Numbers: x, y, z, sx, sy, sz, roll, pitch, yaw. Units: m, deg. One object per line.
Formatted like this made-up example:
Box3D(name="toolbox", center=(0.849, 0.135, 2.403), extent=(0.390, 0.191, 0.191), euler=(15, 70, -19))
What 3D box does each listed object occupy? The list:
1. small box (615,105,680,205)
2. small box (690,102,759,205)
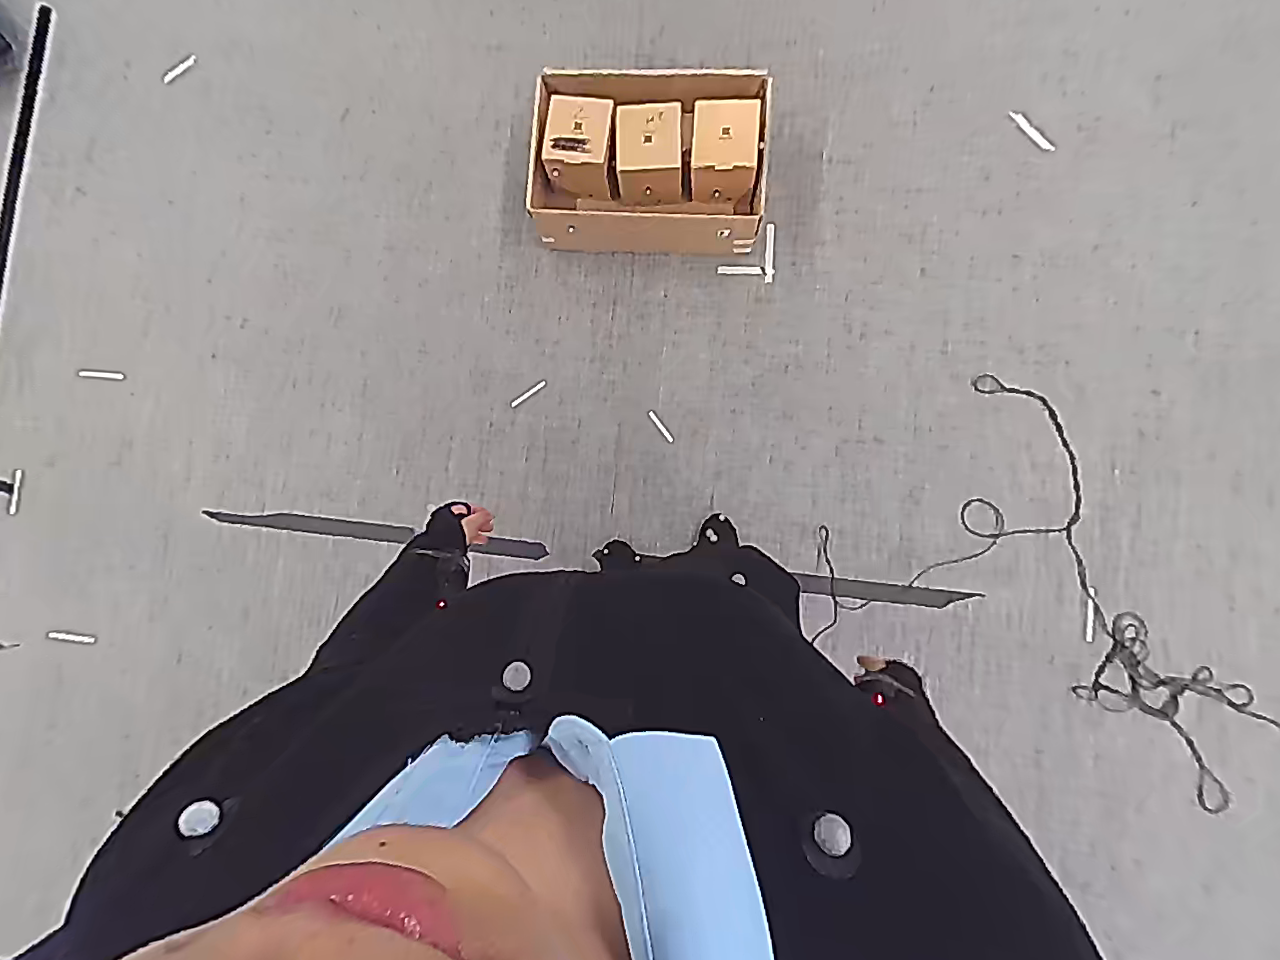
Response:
Box3D(name="small box", center=(0.024, -0.864, 1.454), extent=(0.168, 0.176, 0.179), euler=(0, 86, 3))
Box3D(name="small box", center=(0.220, -0.864, 1.438), extent=(0.168, 0.176, 0.179), euler=(3, 87, 7))
